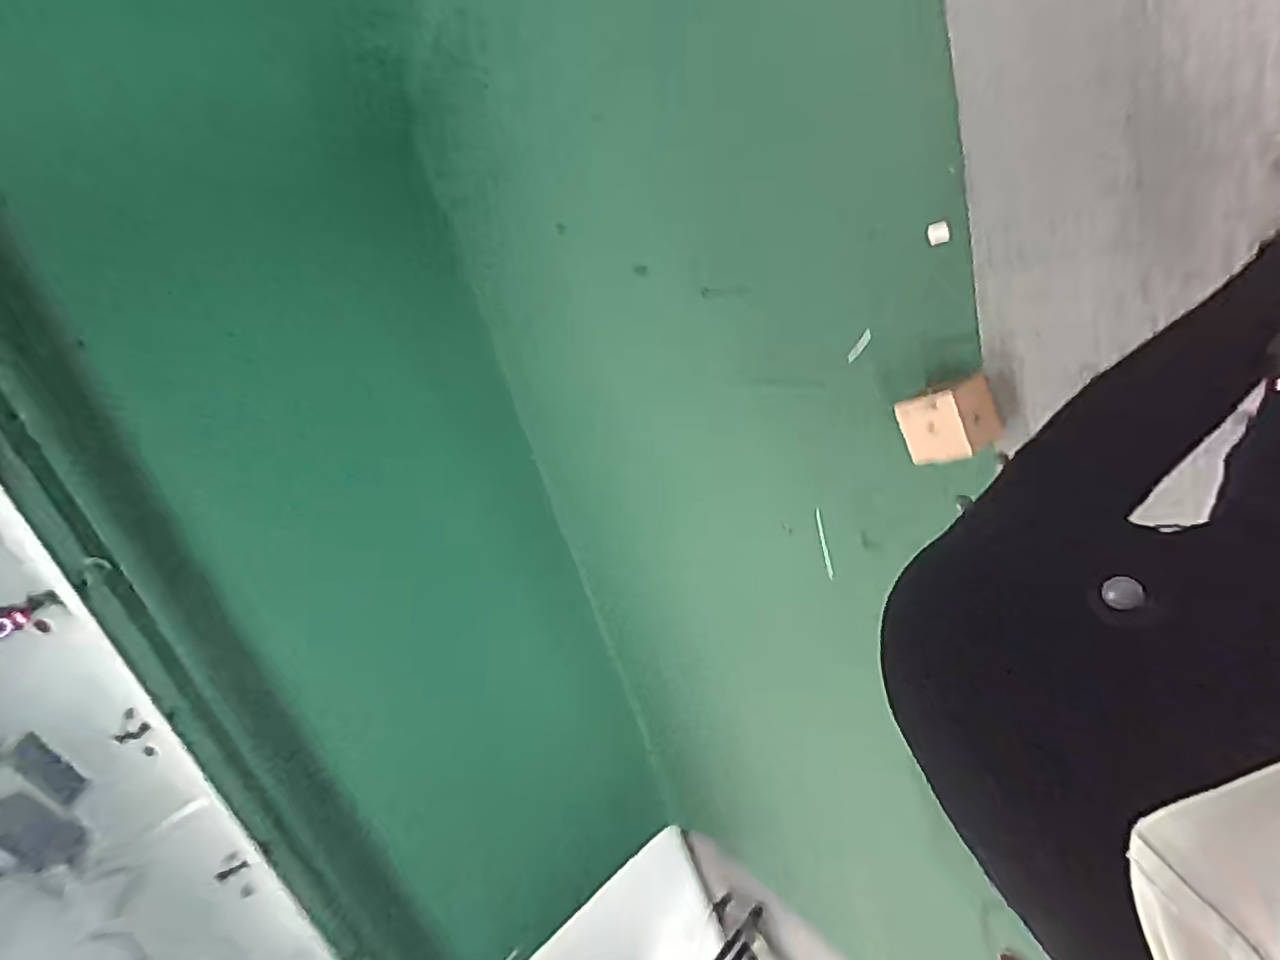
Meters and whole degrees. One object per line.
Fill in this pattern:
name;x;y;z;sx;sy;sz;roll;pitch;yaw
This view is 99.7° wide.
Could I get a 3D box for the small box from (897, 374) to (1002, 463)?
small box;0.842;-0.164;1.467;0.168;0.176;0.179;-11;105;59
